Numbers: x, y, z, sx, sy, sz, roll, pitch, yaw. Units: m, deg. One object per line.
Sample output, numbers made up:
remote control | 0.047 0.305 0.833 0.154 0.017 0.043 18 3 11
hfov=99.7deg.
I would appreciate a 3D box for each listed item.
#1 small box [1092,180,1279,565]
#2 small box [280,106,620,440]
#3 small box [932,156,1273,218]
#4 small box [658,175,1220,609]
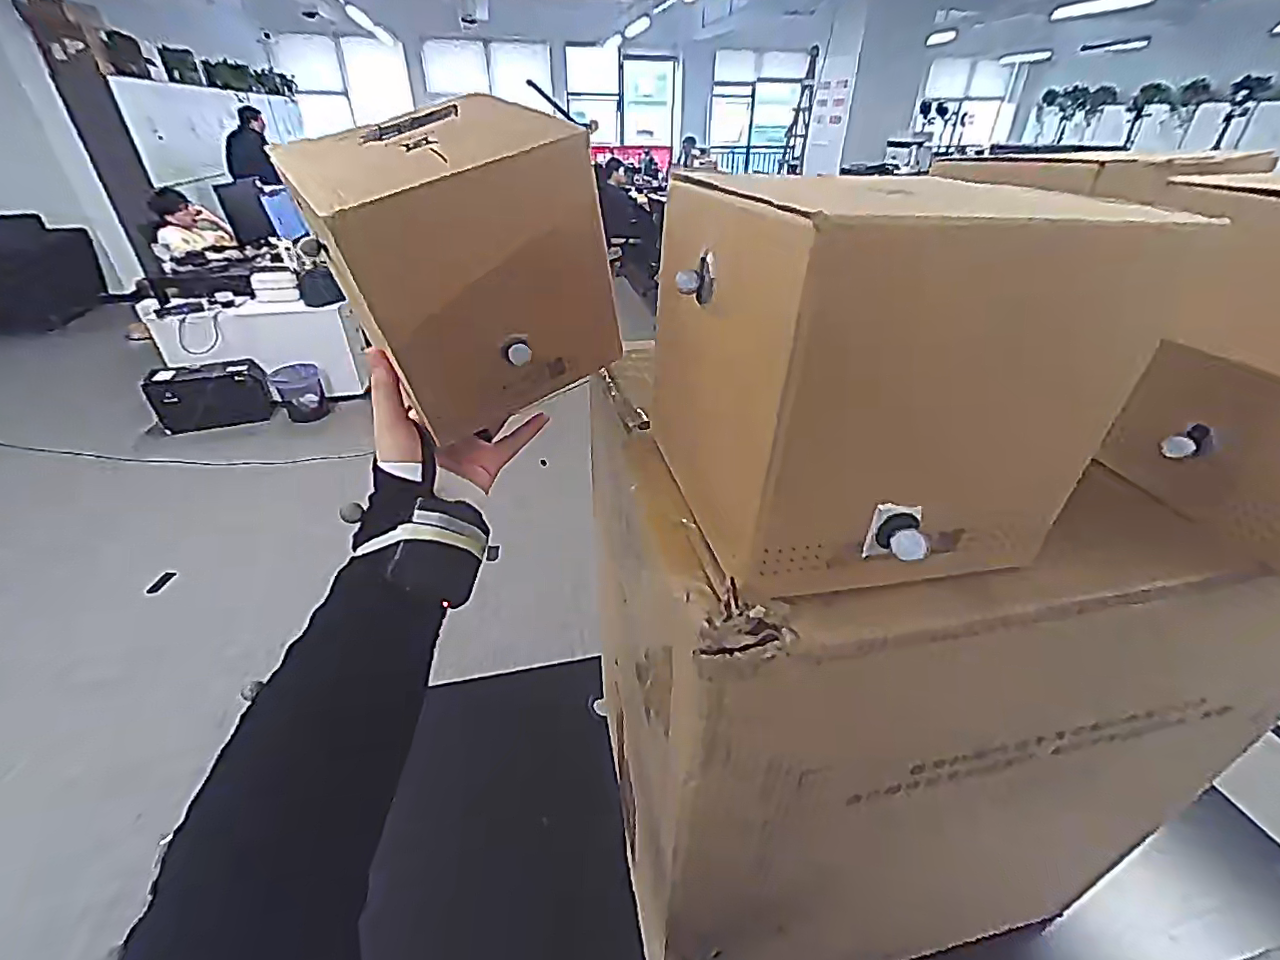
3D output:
small box | 0.397 -0.063 0.304 0.168 0.176 0.179 -8 37 -10
small box | -0.134 -0.161 0.416 0.168 0.176 0.179 -31 50 -19
small box | 0.376 -0.198 0.500 0.168 0.176 0.179 -8 31 -10
small box | 0.110 -0.058 0.291 0.168 0.176 0.179 -6 35 -12
